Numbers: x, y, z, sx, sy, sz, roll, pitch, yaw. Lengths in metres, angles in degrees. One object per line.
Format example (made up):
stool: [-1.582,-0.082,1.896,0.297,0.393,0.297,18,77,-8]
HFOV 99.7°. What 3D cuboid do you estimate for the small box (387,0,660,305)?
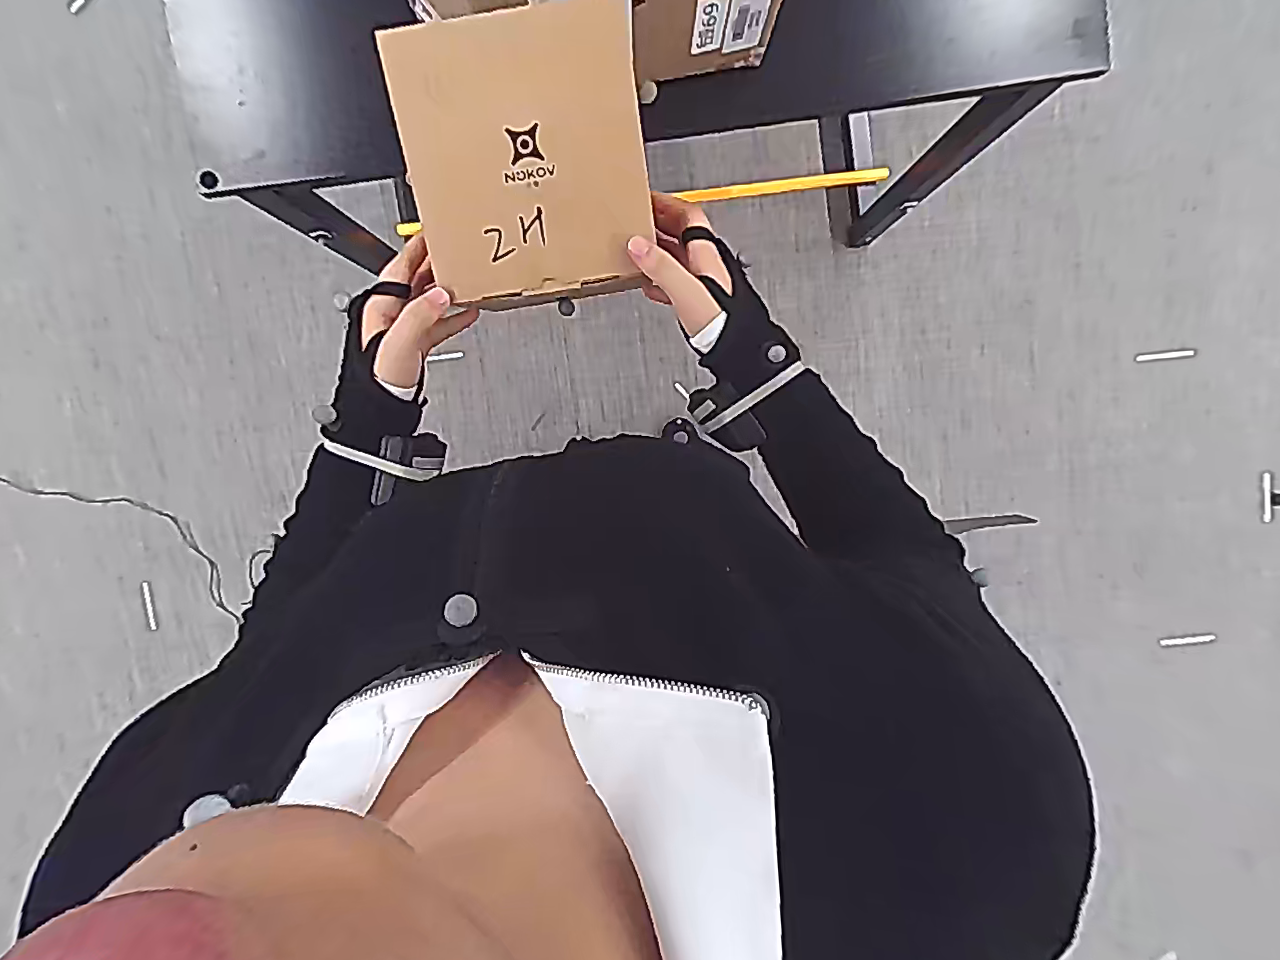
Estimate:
small box: [-0.079,-0.252,0.456,0.168,0.176,0.179,-9,106,2]
